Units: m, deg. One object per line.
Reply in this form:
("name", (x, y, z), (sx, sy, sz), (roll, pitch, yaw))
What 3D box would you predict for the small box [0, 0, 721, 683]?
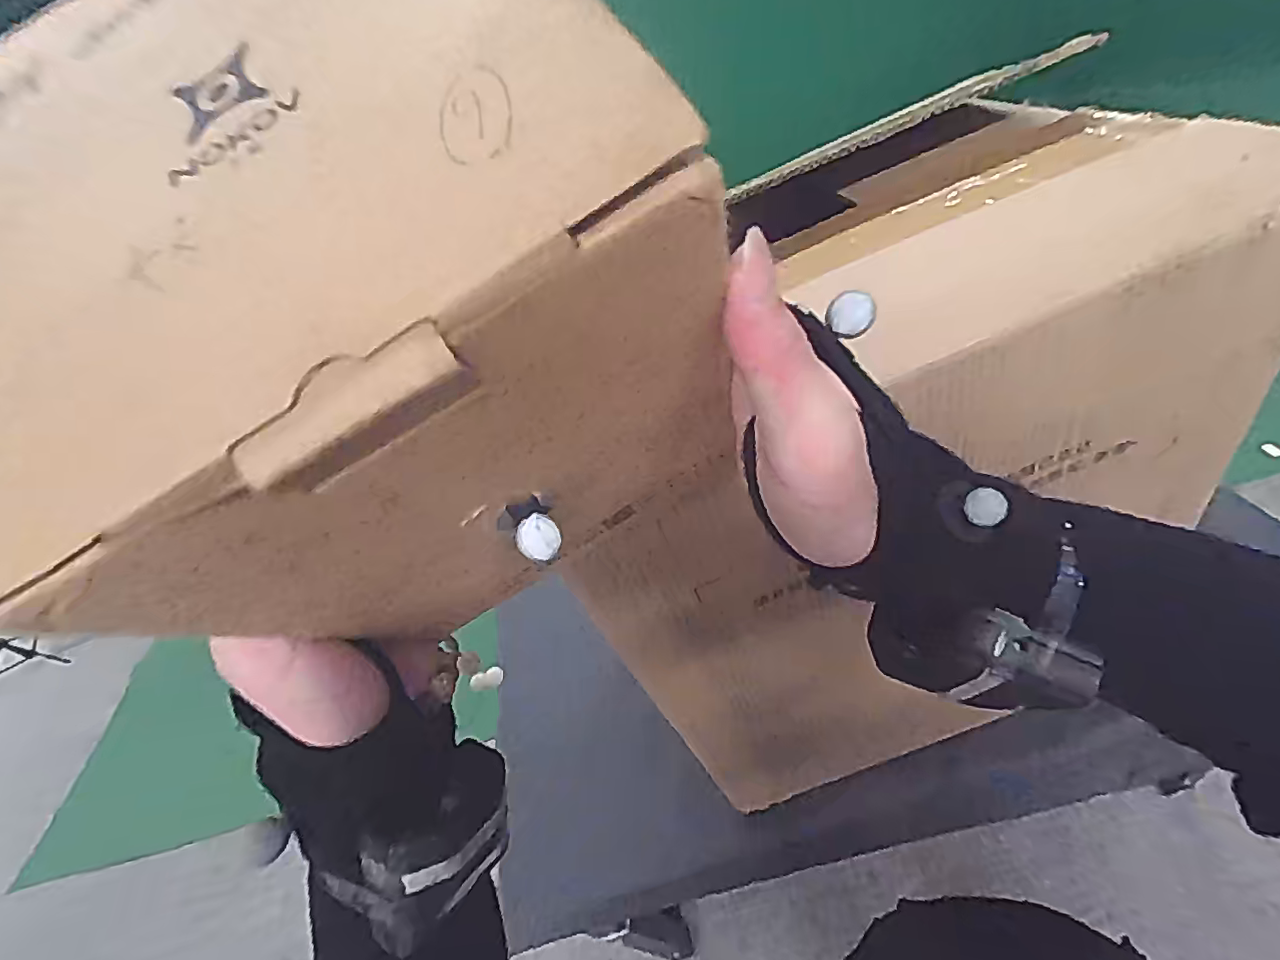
("small box", (-0.081, -0.052, 0.203), (0.168, 0.176, 0.179), (-31, 71, 1))
